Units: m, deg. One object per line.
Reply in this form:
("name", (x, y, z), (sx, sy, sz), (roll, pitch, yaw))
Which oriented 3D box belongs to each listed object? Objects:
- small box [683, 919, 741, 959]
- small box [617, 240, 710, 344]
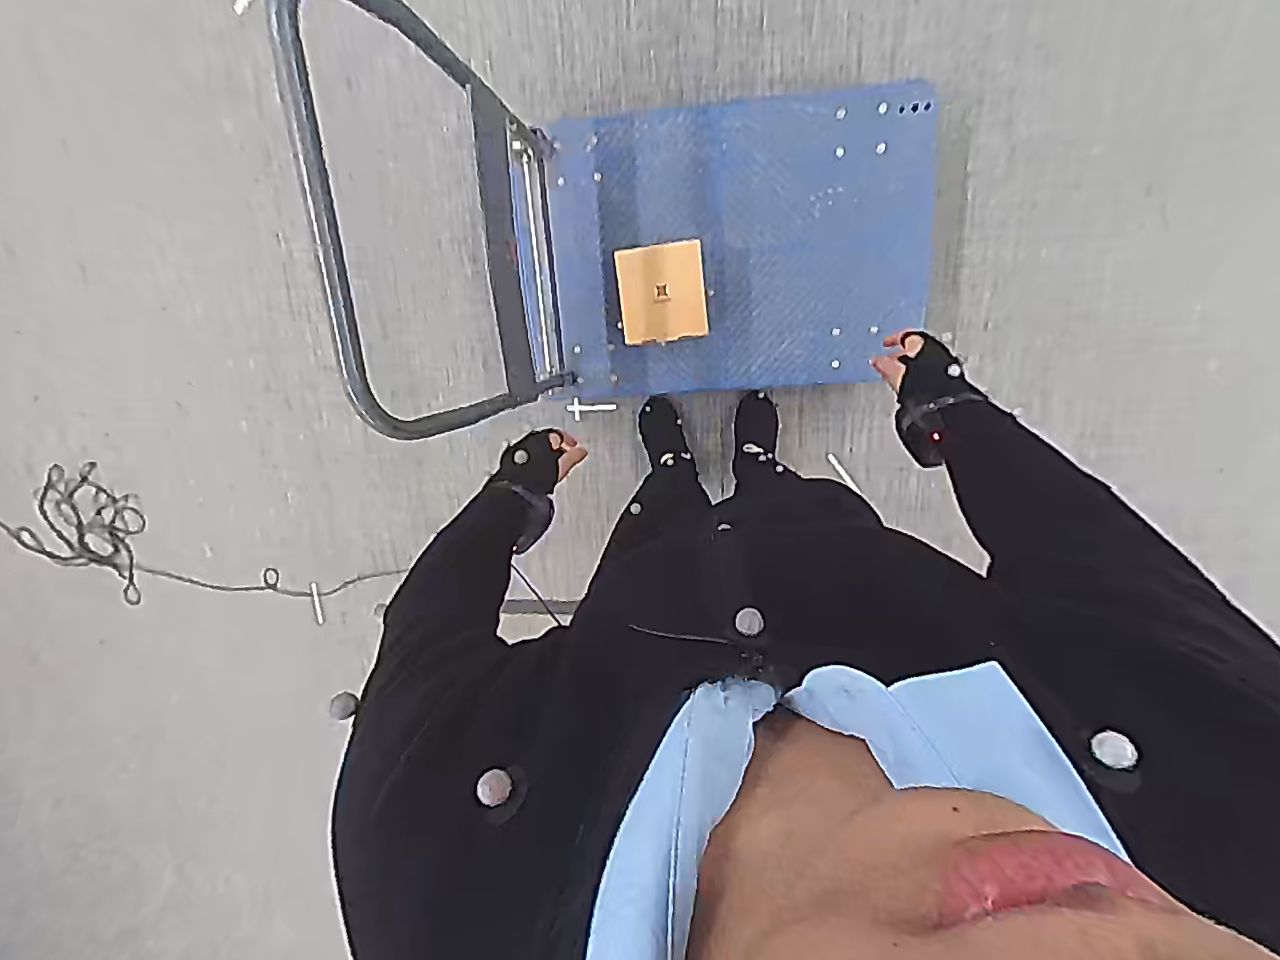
("small box", (0.214, 1.472, 1.618), (0.168, 0.176, 0.179), (3, 105, 4))
("small box", (0.051, -0.379, 1.117), (0.168, 0.176, 0.179), (-6, 105, 7))
